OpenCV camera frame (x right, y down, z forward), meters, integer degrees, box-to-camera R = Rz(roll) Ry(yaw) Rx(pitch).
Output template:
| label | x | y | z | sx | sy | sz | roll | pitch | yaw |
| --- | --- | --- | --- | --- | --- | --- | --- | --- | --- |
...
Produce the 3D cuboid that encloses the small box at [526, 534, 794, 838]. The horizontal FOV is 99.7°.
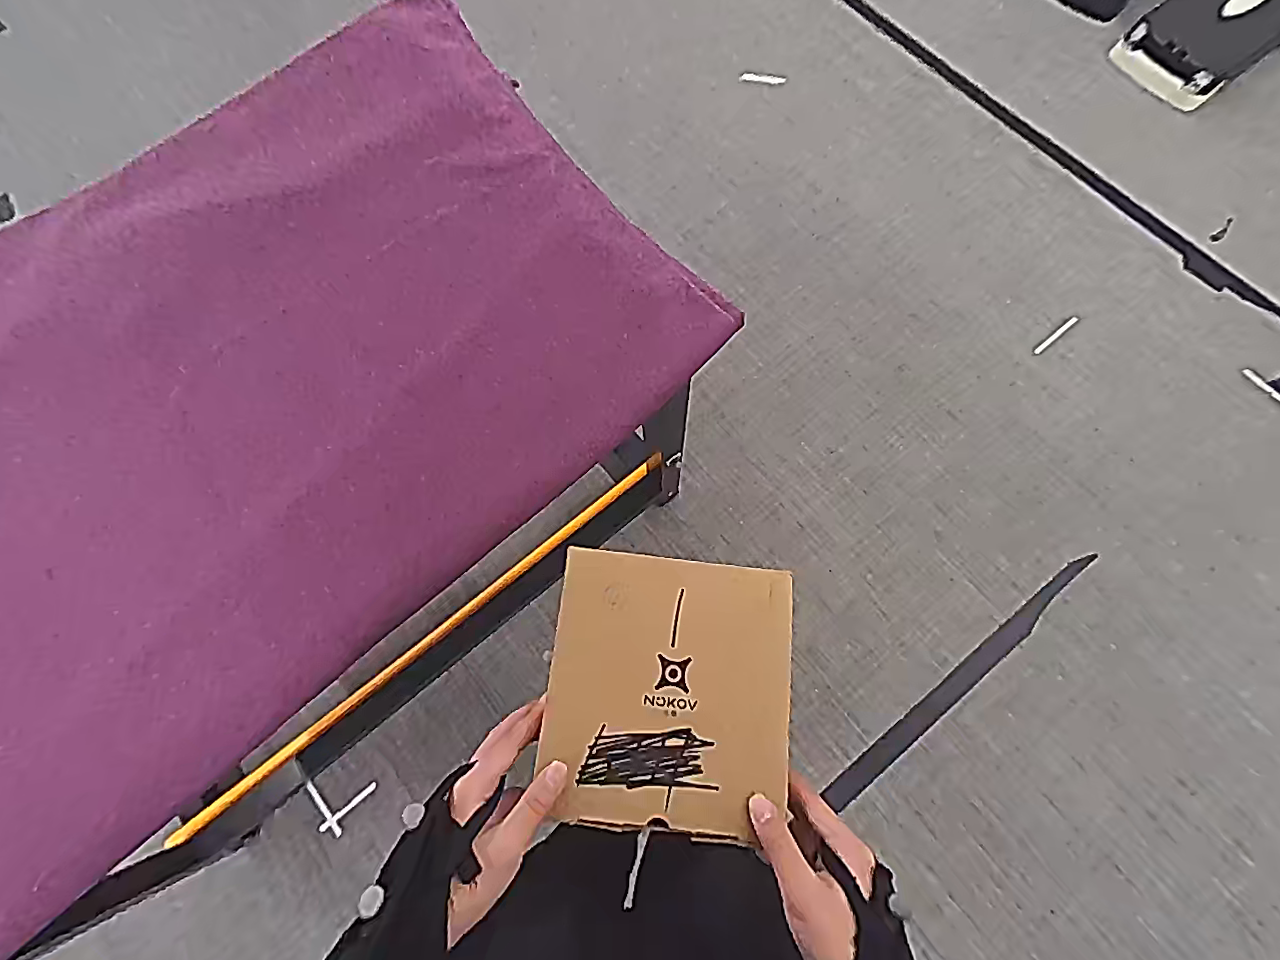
| label | x | y | z | sx | sy | sz | roll | pitch | yaw |
| --- | --- | --- | --- | --- | --- | --- | --- | --- | --- |
| small box | 0.016 | 0.154 | 0.435 | 0.168 | 0.176 | 0.179 | 7 | 71 | -1 |
